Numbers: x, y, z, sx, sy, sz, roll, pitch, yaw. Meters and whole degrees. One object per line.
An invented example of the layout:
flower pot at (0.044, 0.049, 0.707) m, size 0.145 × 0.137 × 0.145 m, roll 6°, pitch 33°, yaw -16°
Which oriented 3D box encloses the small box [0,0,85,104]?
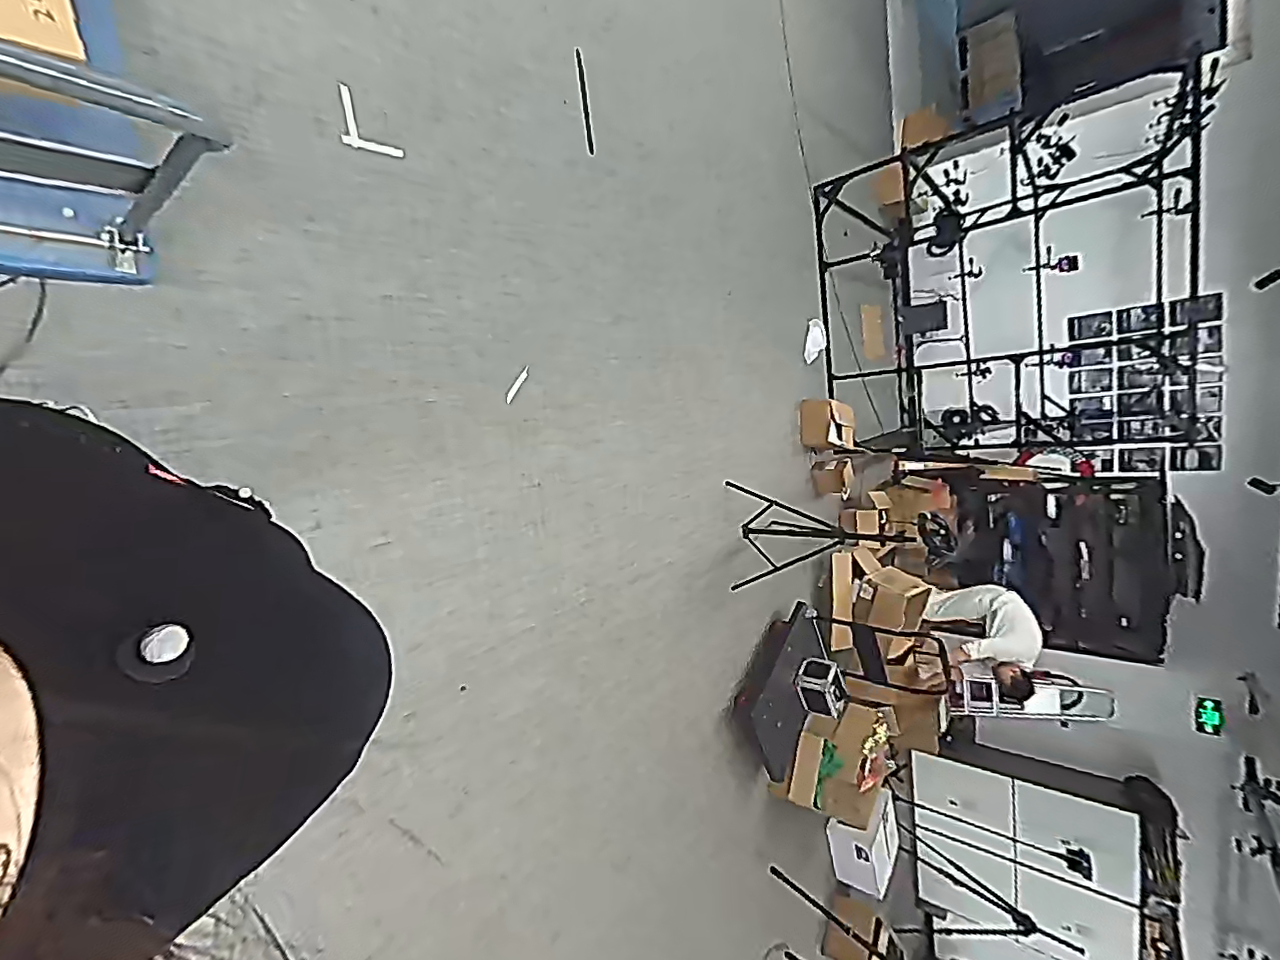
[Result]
small box at (-1.007, -0.720, 0.833) m, size 0.179 × 0.176 × 0.168 m, roll -20°, pitch 105°, yaw -48°
